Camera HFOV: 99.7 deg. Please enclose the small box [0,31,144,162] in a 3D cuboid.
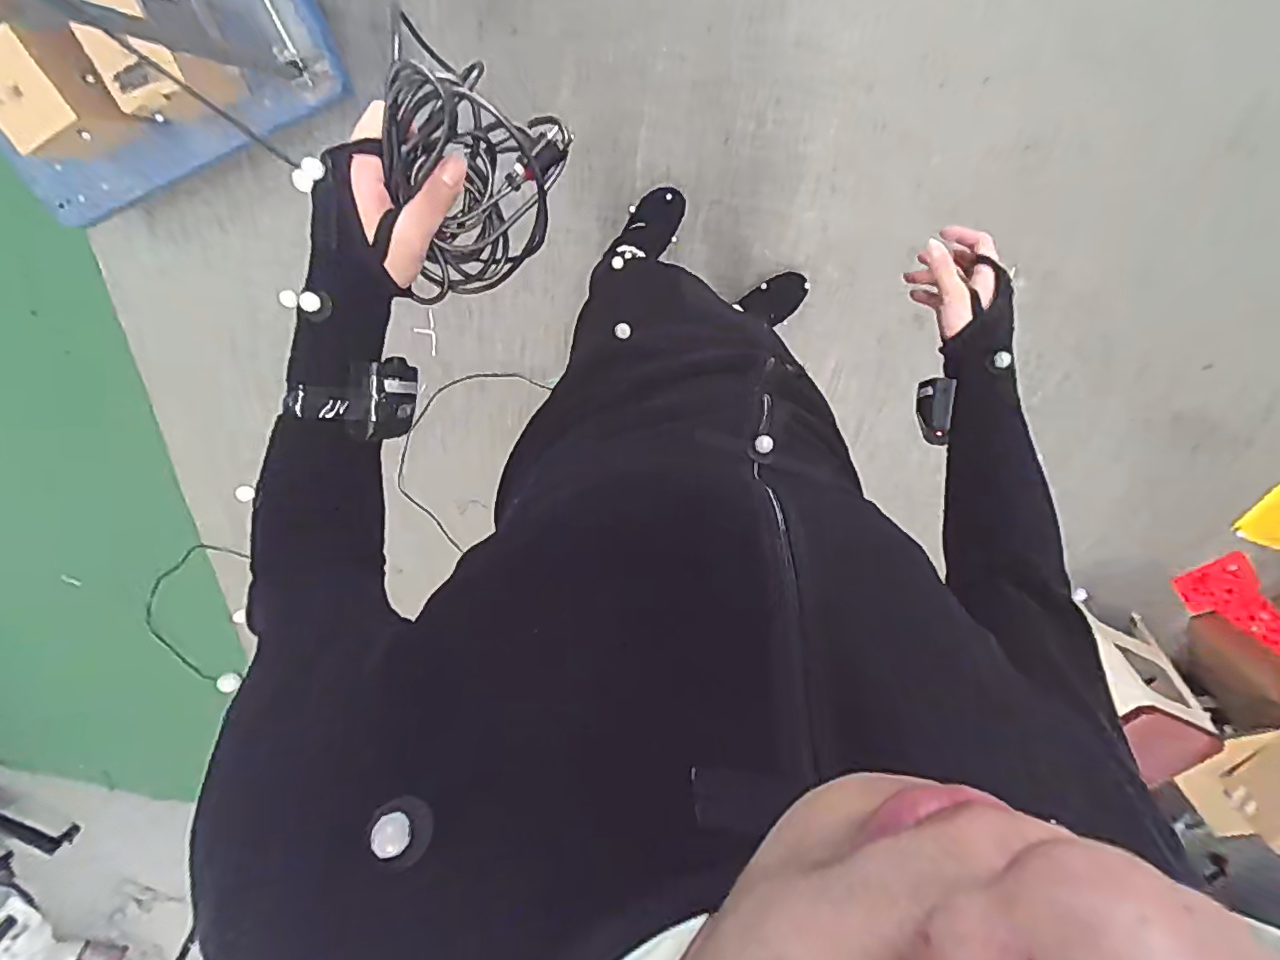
[{"bbox_3d":[-1.210,-0.790,1.133,0.179,0.176,0.168,-18,115,15],"label":"small box"}]
